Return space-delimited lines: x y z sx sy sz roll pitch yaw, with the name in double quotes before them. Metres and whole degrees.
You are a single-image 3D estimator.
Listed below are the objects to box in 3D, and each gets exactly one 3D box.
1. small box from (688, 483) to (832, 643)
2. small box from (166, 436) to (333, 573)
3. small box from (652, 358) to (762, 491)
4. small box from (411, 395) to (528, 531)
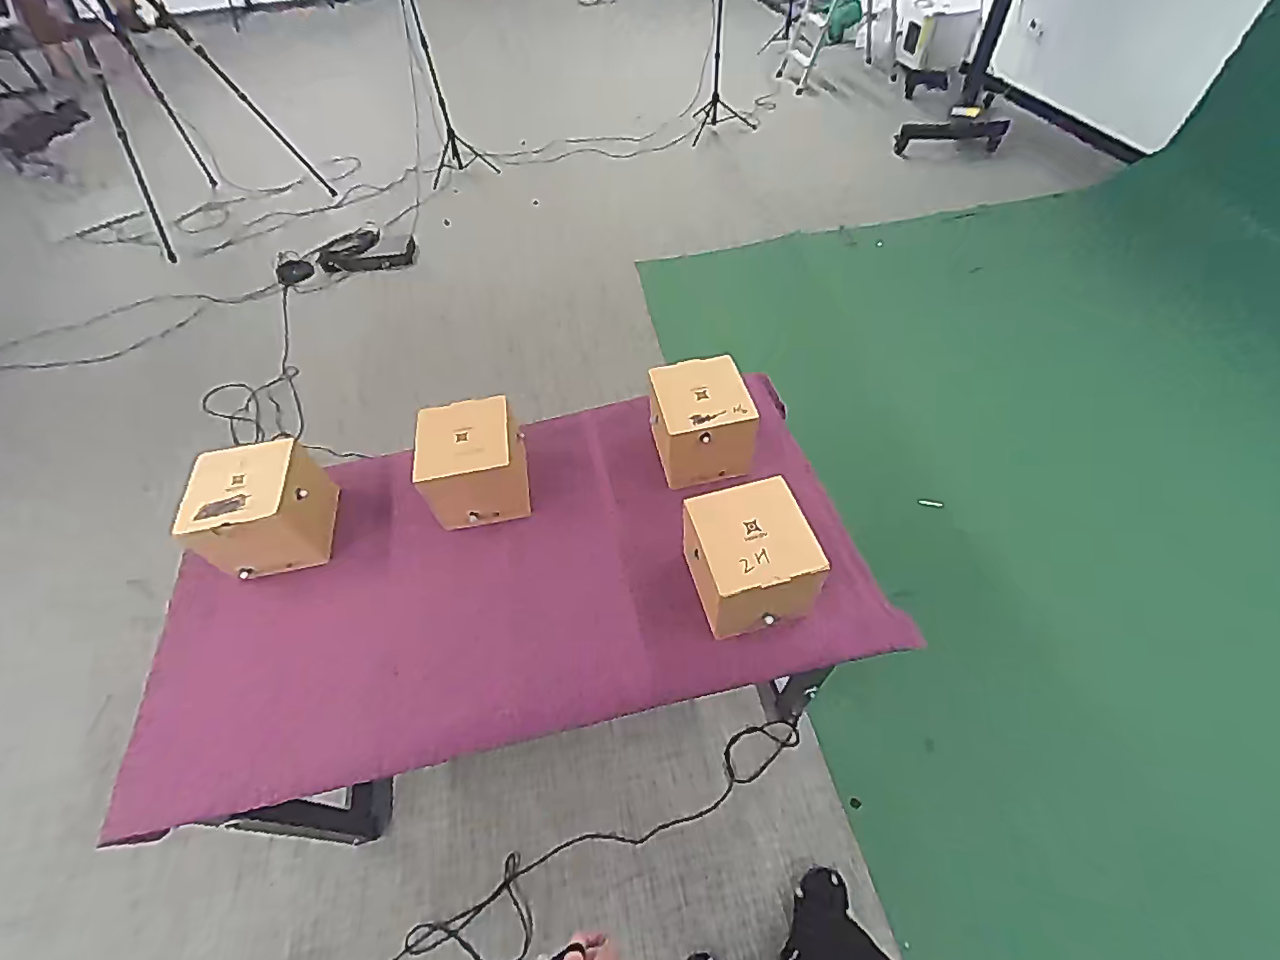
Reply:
"small box" 0.176 0.134 0.863 0.168 0.176 0.179 -13 54 -5
"small box" -0.674 0.051 0.962 0.168 0.176 0.179 -10 55 -6
"small box" 0.120 -0.105 1.044 0.168 0.176 0.179 -11 54 -5
"small box" -0.308 -0.029 1.010 0.168 0.176 0.179 -10 55 -4
